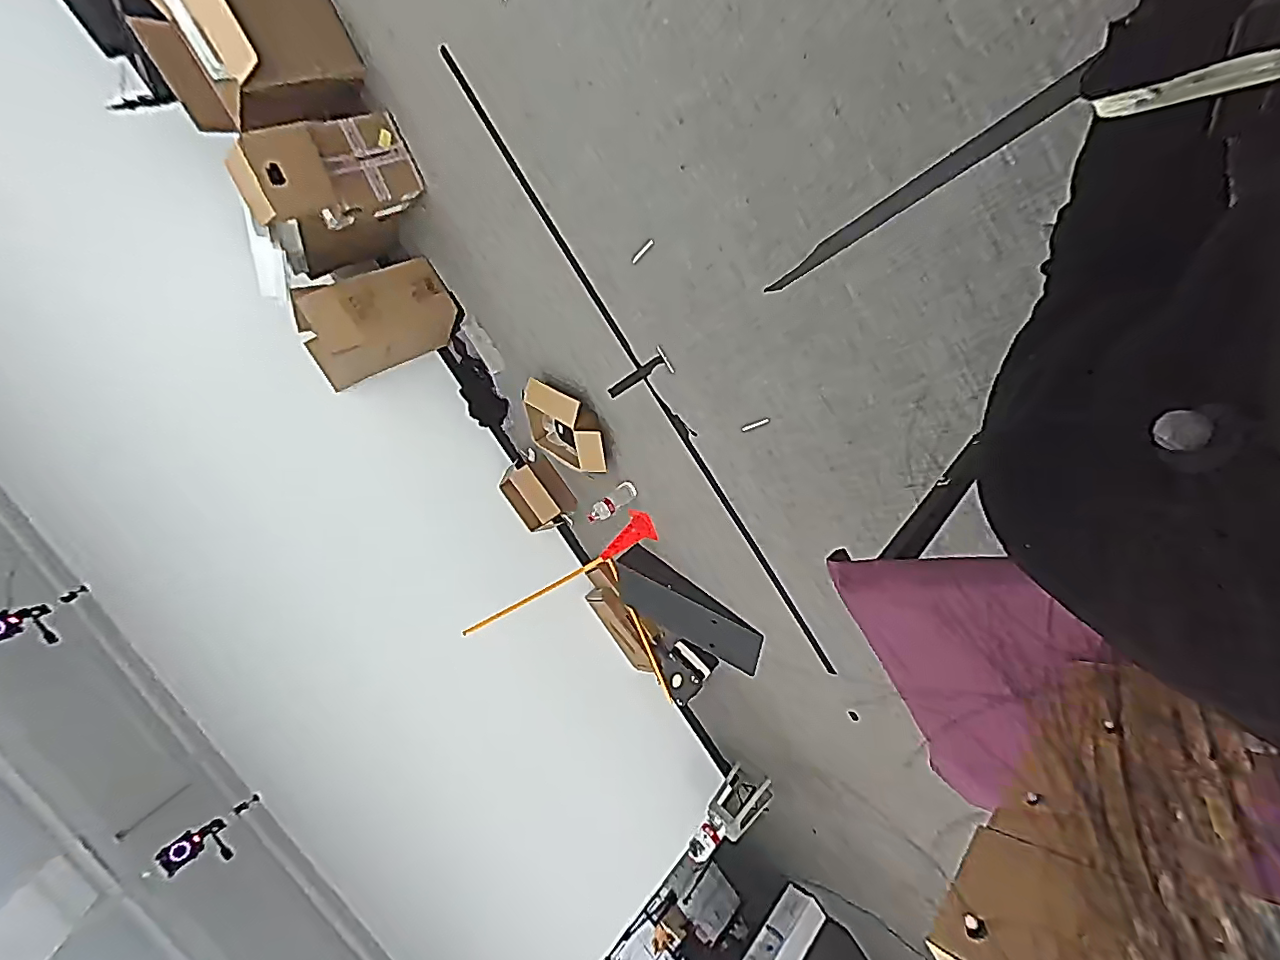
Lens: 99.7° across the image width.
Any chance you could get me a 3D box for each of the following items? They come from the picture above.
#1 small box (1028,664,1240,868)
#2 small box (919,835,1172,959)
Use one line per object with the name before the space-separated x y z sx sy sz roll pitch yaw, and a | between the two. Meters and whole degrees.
small box | 0.707 0.388 0.772 0.168 0.176 0.179 59 151 -9
small box | 0.469 0.556 0.619 0.168 0.176 0.179 58 150 -9
